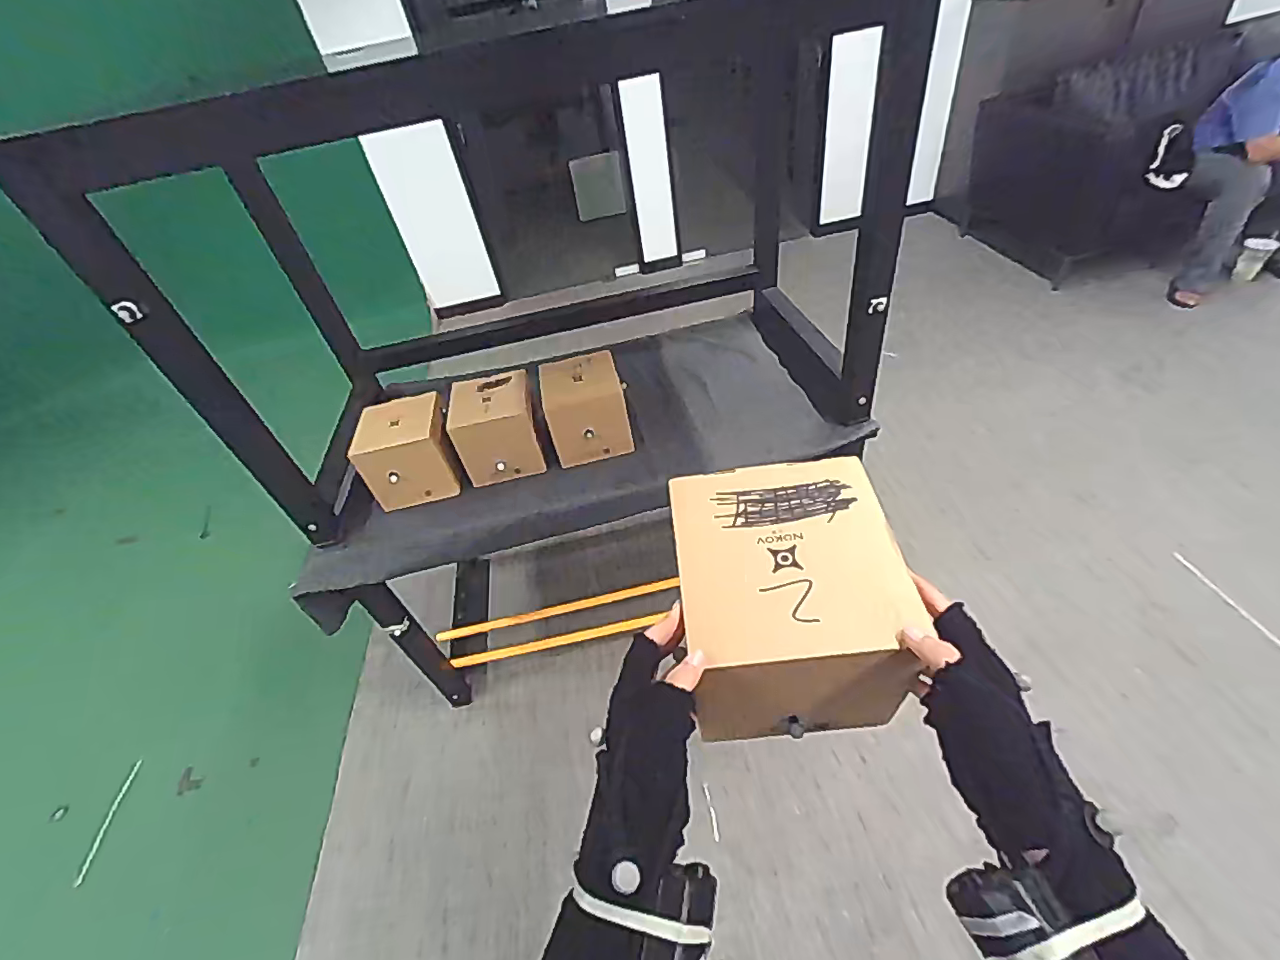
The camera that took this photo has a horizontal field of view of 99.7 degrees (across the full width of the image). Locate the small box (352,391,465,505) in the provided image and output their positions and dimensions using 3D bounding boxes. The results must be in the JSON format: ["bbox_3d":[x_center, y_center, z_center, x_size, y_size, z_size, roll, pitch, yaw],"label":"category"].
[{"bbox_3d":[-0.492,-0.064,1.179,0.168,0.176,0.179,-13,42,-2],"label":"small box"}]

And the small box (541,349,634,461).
[{"bbox_3d":[-0.114,-0.160,1.196,0.168,0.176,0.179,-13,42,-2],"label":"small box"}]
